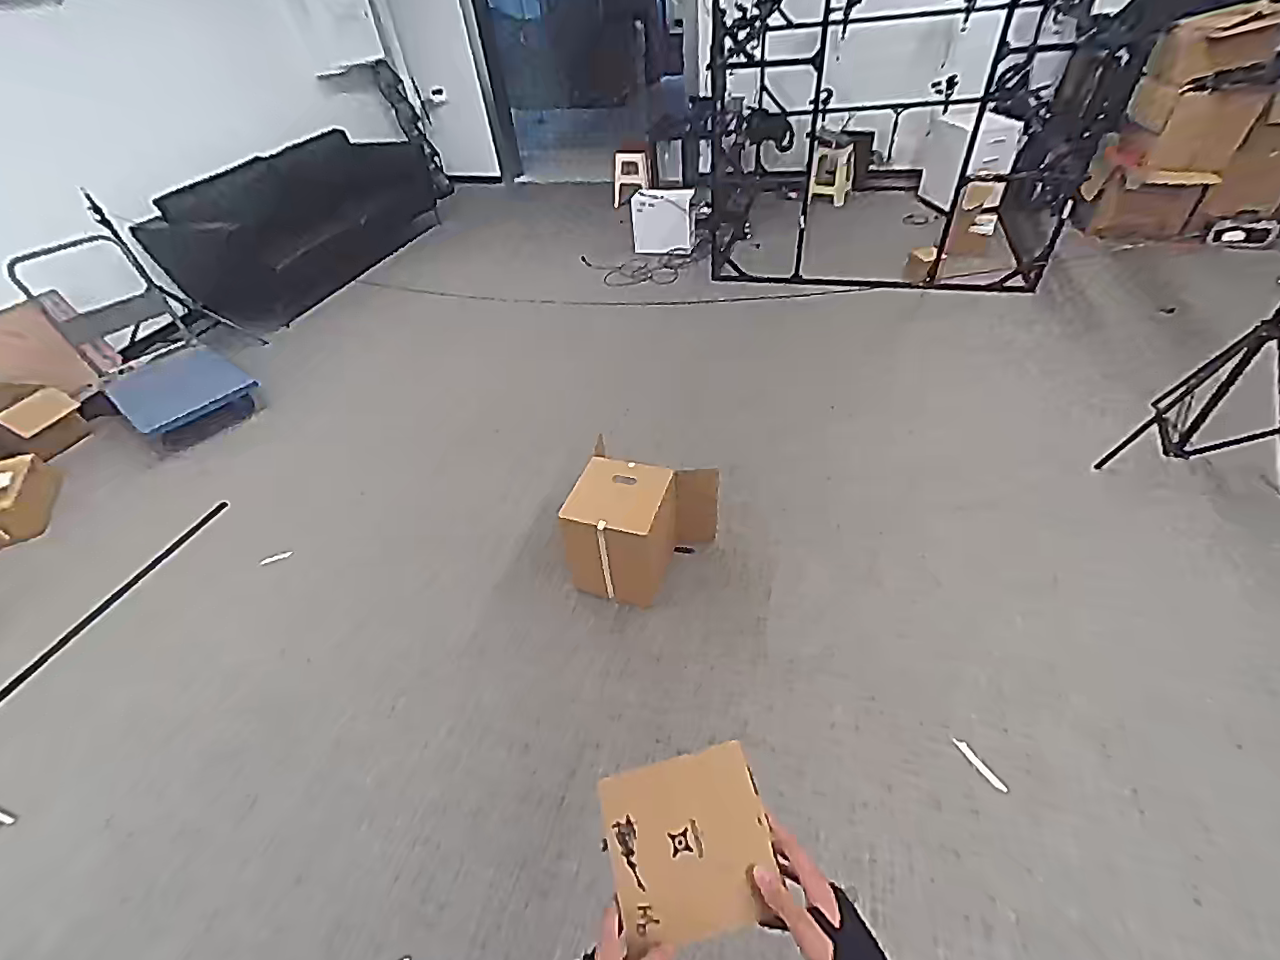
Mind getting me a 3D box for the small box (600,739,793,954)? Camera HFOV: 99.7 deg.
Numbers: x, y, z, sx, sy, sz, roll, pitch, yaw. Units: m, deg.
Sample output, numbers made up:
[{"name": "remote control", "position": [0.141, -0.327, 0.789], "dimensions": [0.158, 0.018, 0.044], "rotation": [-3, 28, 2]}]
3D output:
[{"name": "small box", "position": [0.062, 0.425, 0.653], "dimensions": [0.179, 0.176, 0.168], "rotation": [-15, 60, -1]}]
